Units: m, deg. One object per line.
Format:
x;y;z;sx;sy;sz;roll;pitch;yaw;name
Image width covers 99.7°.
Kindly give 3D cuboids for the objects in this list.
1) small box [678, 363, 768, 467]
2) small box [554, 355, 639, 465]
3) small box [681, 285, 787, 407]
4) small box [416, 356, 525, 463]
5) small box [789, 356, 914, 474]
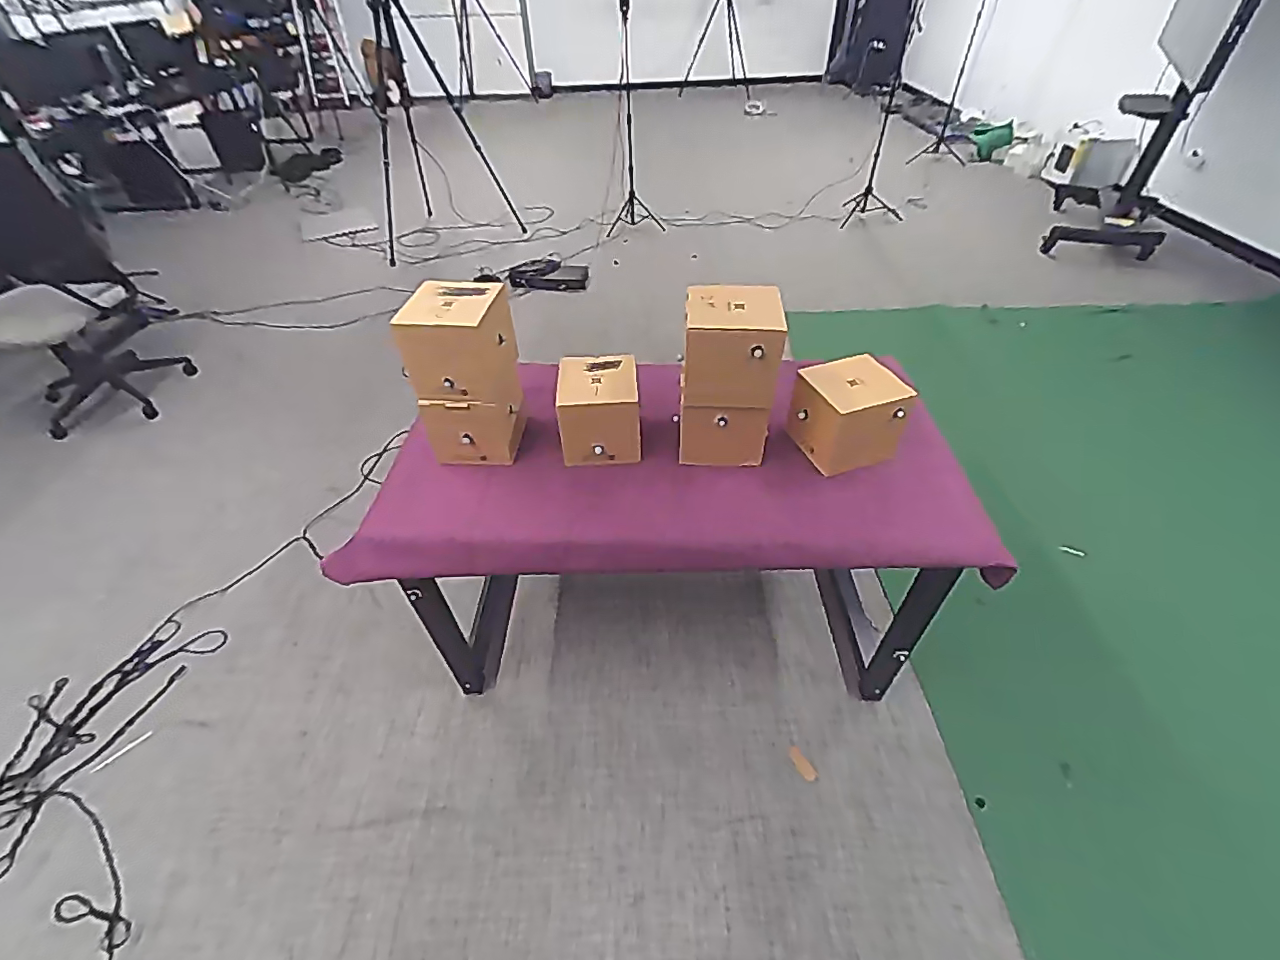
0.171;-0.142;1.154;0.179;0.176;0.168;3;45;4;small box
-0.088;-0.150;1.168;0.168;0.176;0.179;-3;45;-1;small box
0.172;-0.253;1.033;0.179;0.176;0.168;3;44;5;small box
-0.357;-0.151;1.178;0.168;0.176;0.179;2;45;3;small box
0.429;-0.133;1.138;0.179;0.176;0.168;-14;45;-12;small box
